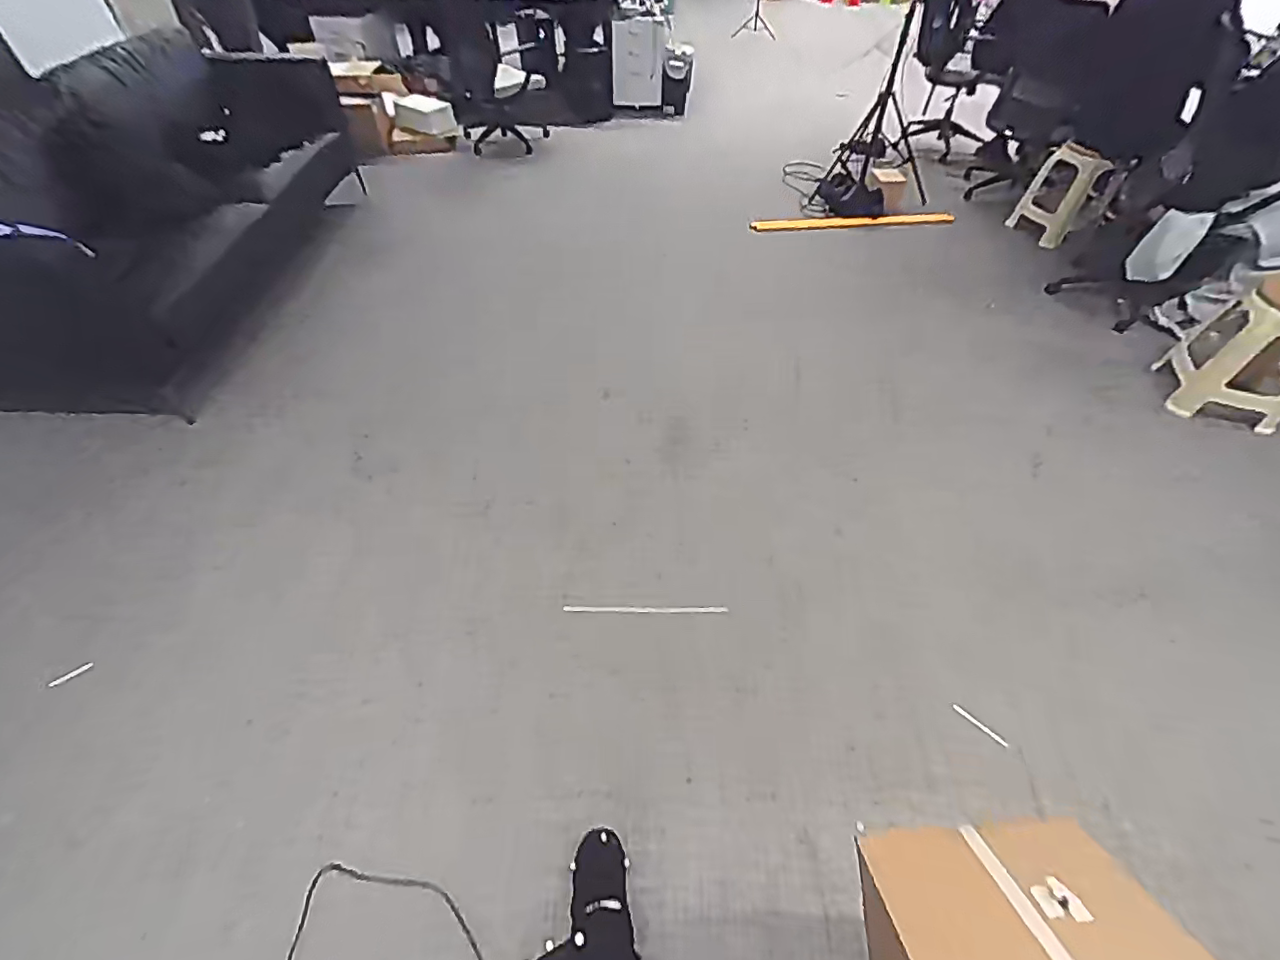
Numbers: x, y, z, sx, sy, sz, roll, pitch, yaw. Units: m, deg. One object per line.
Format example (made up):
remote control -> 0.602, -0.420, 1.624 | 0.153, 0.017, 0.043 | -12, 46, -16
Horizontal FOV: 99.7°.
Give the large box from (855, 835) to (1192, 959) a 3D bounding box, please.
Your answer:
large box -> 0.482, 0.699, 0.613 | 0.320, 0.408, 0.320 | -6, 93, 4
